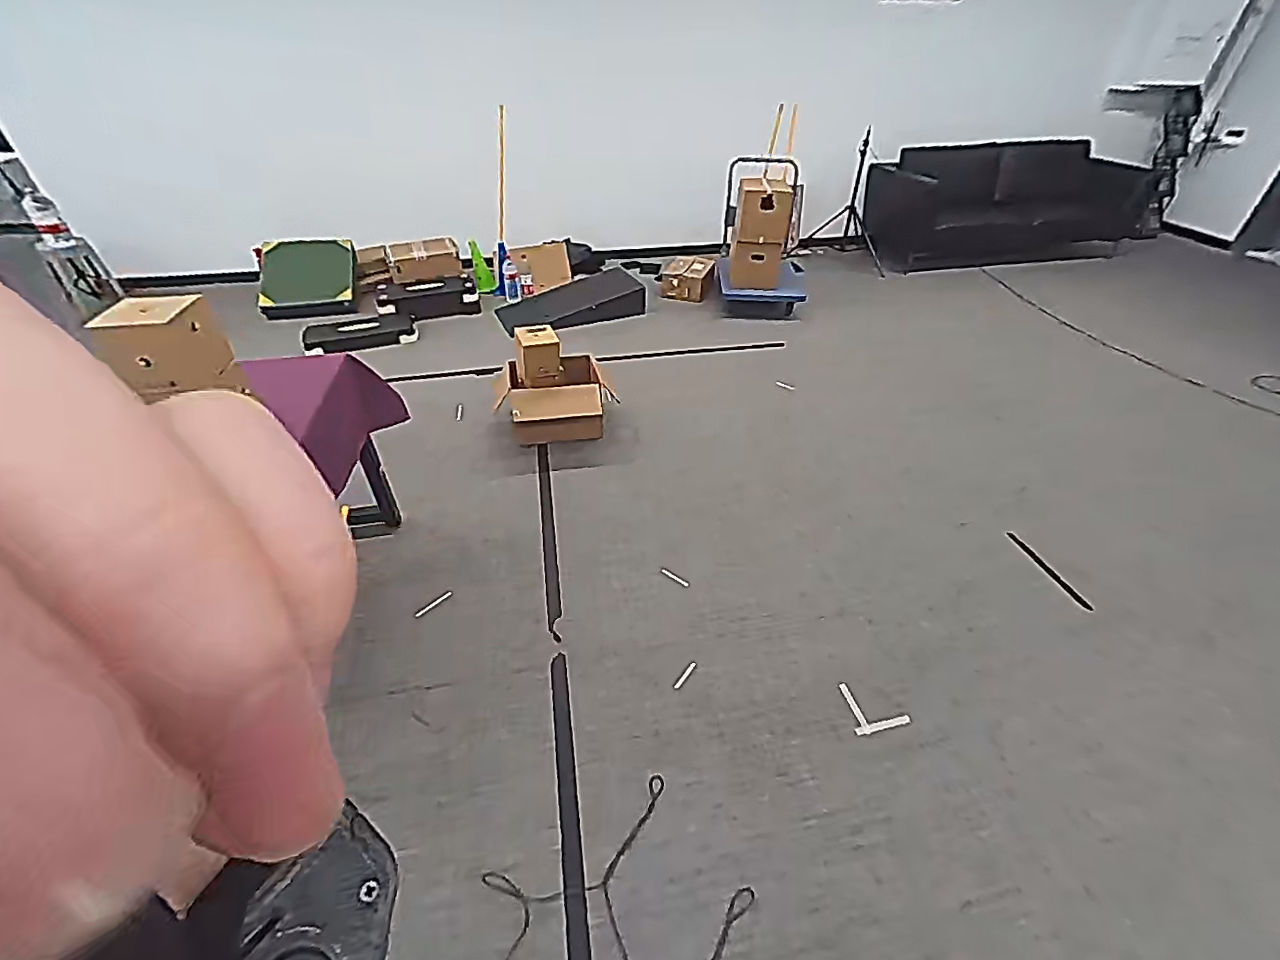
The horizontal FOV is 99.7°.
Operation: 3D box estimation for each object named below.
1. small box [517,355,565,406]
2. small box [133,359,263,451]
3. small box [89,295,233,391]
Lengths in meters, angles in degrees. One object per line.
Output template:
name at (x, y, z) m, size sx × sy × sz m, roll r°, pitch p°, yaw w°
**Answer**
small box at (-0.471, -0.472, 2.587) m, size 0.179 × 0.176 × 0.168 m, roll -19°, pitch 47°, yaw -27°
small box at (-1.107, -0.191, 1.377) m, size 0.179 × 0.176 × 0.168 m, roll -7°, pitch 39°, yaw -8°
small box at (-1.108, -0.319, 1.274) m, size 0.168 × 0.176 × 0.179 m, roll -6°, pitch 39°, yaw -8°
